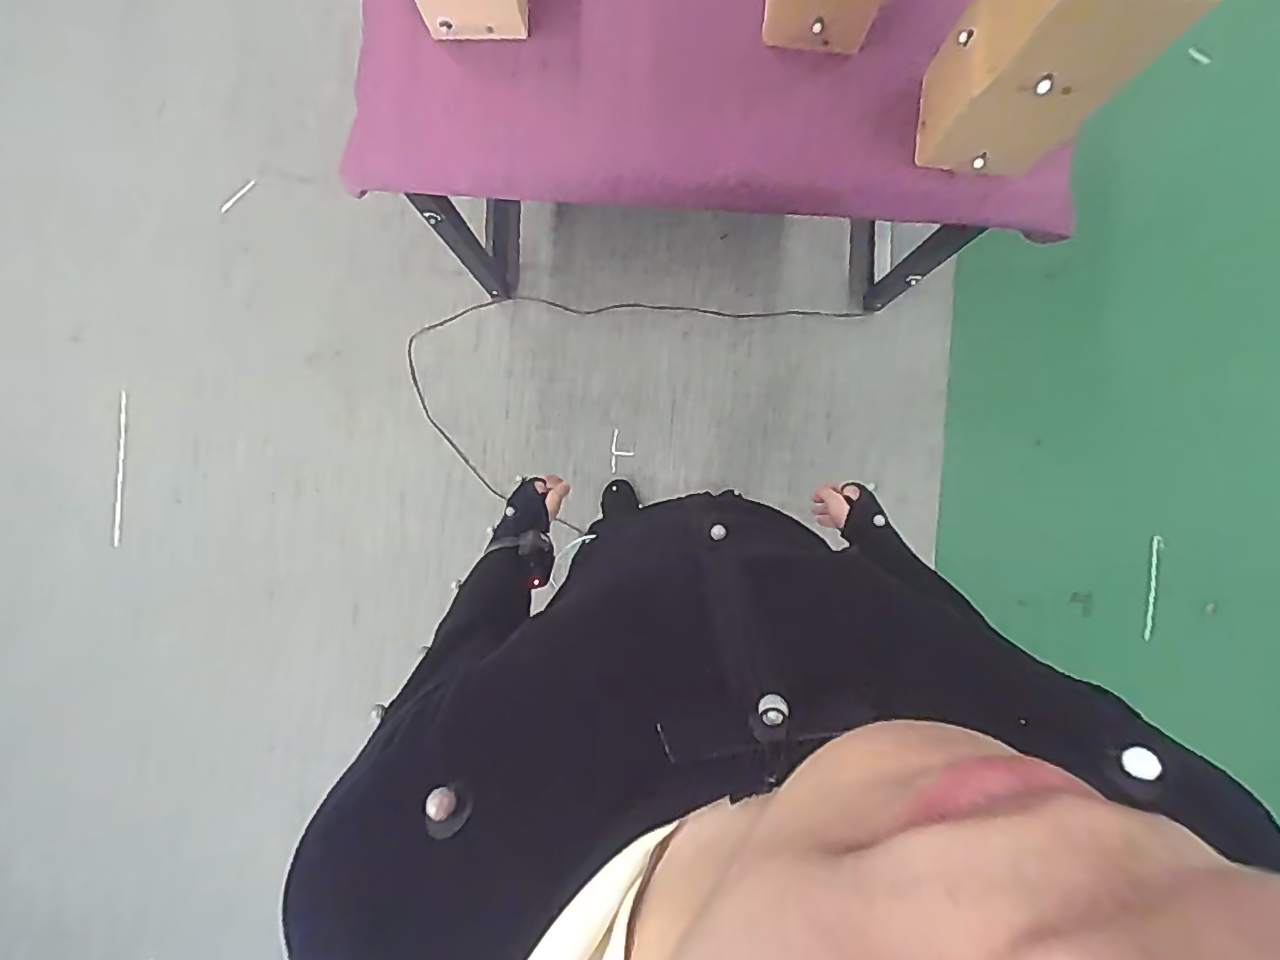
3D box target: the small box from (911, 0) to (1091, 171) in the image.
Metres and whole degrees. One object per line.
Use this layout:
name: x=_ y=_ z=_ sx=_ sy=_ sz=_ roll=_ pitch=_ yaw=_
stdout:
small box: x=0.551 y=-0.607 z=0.832 sx=0.179 sy=0.176 sz=0.168 roll=7 pitch=89 yaw=1

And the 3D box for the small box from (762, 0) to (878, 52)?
small box: x=0.293 y=-0.822 z=0.838 sx=0.168 sy=0.176 sz=0.179 roll=7 pitch=90 yaw=1

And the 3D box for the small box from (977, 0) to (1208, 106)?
small box: x=0.551 y=-0.613 z=0.669 sx=0.168 sy=0.176 sz=0.179 roll=7 pitch=89 yaw=3

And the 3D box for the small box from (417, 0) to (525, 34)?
small box: x=-0.276 y=-0.843 z=0.842 sx=0.168 sy=0.176 sz=0.179 roll=0 pitch=89 yaw=0
